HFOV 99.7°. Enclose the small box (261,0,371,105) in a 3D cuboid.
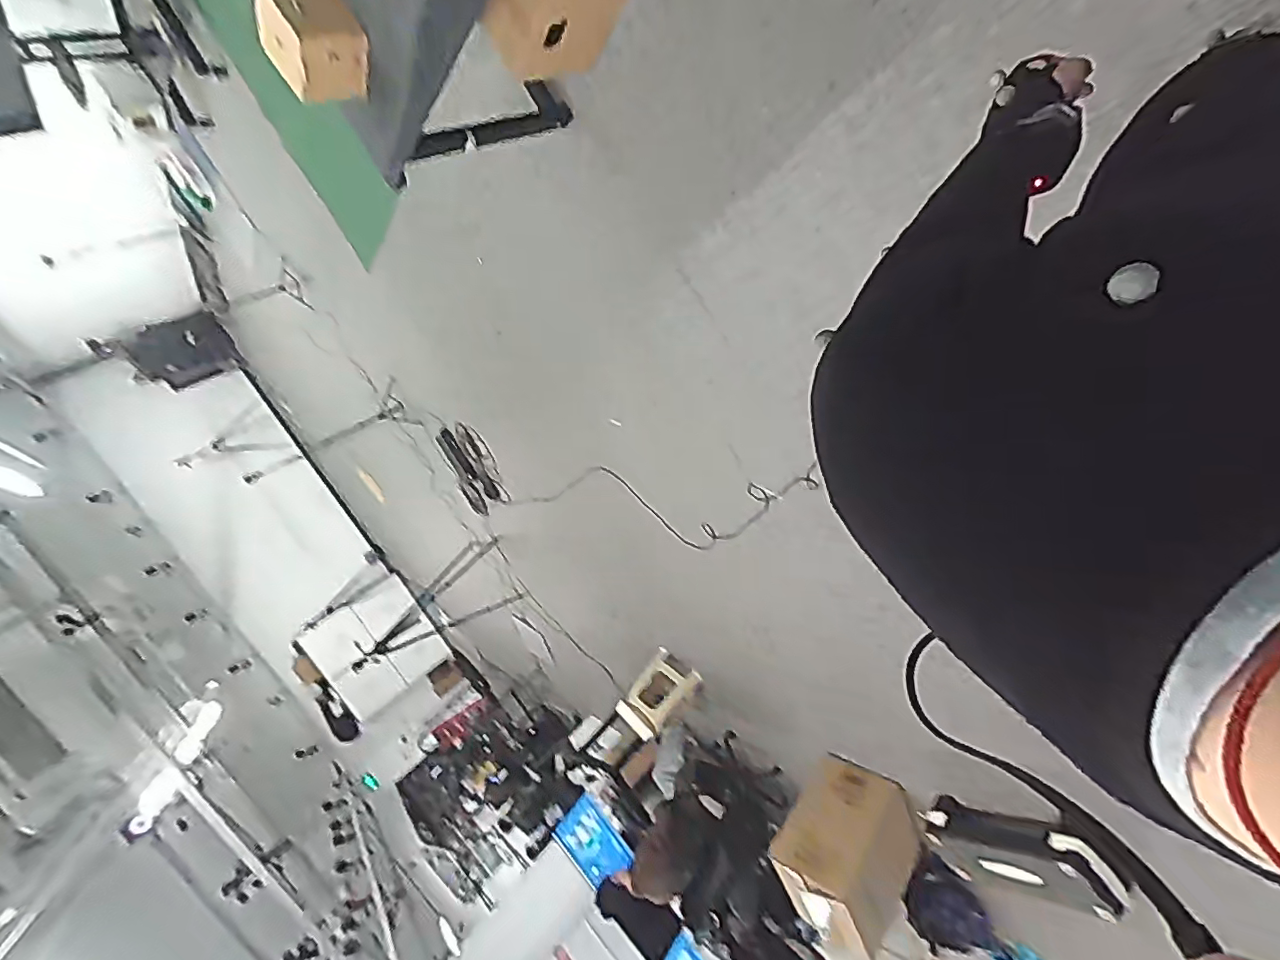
[{"bbox_3d":[-0.781,-1.060,1.313,0.179,0.176,0.168,56,145,-1],"label":"small box"}]
